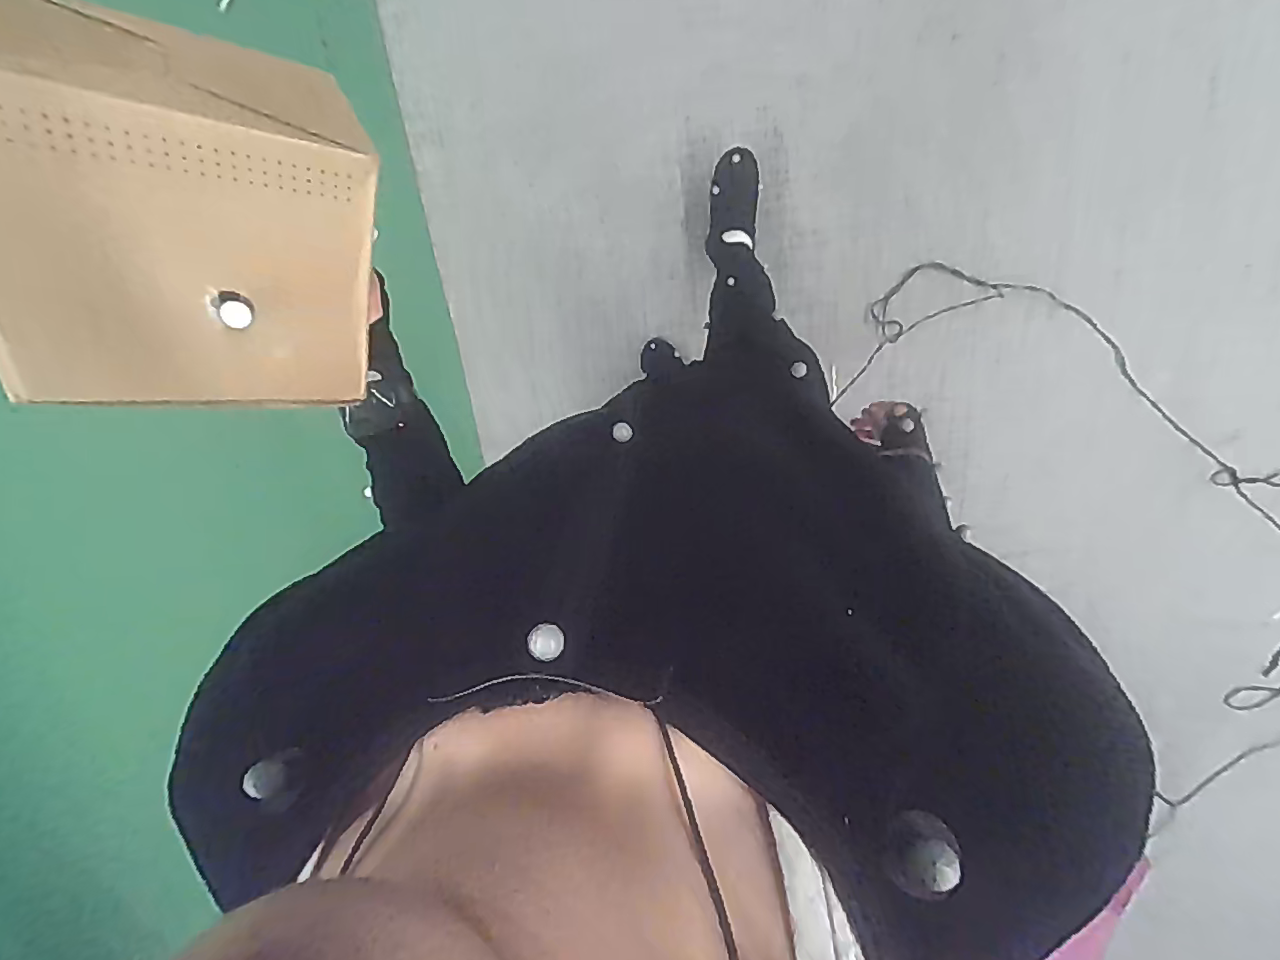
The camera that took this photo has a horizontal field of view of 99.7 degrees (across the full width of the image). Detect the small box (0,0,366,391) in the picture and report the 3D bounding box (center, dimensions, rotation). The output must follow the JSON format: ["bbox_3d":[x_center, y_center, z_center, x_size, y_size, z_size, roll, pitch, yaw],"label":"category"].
[{"bbox_3d":[-0.274,-0.171,0.323,0.179,0.168,0.176,-7,137,-36],"label":"small box"}]
